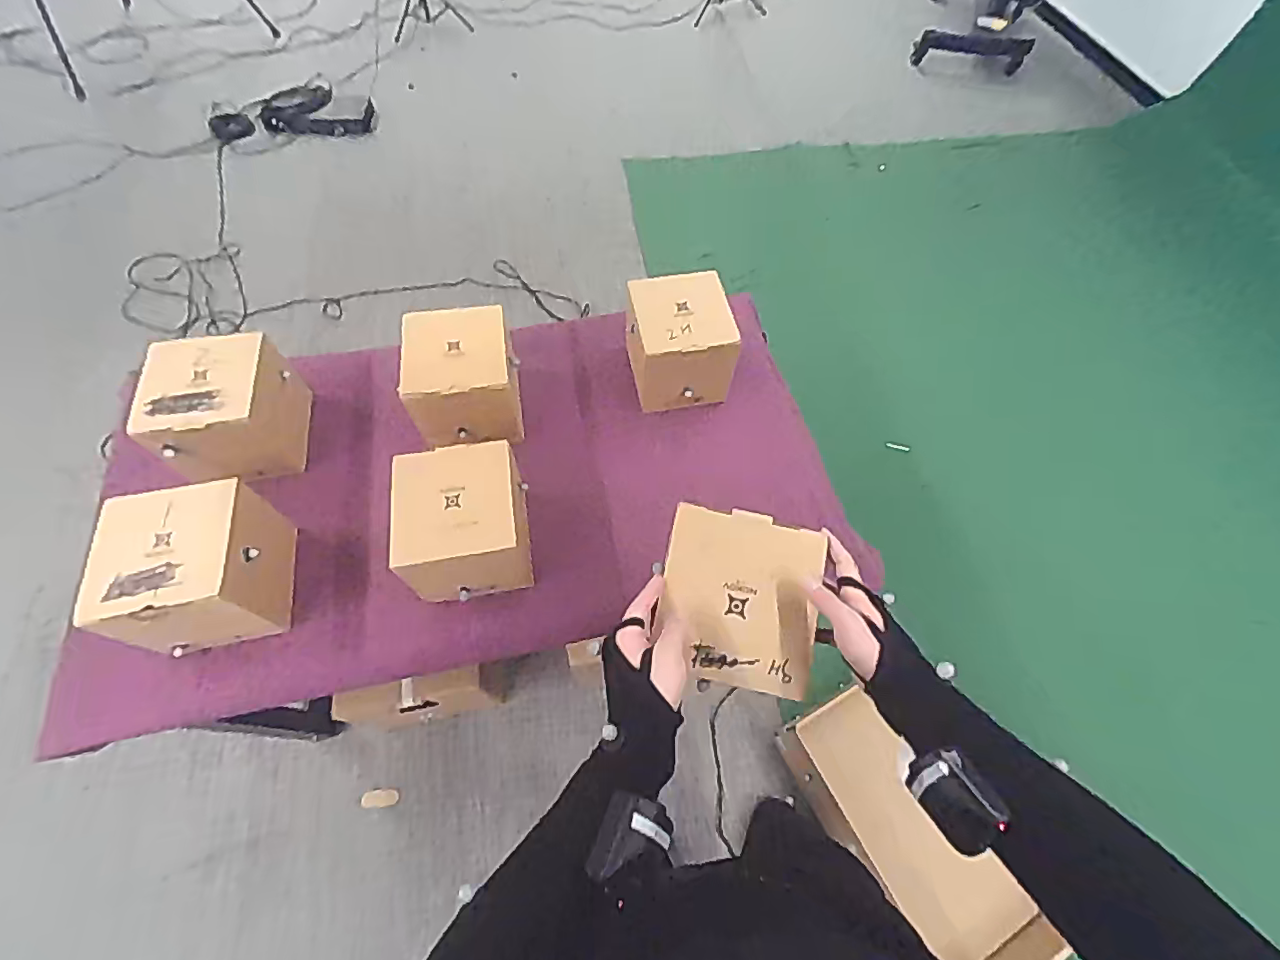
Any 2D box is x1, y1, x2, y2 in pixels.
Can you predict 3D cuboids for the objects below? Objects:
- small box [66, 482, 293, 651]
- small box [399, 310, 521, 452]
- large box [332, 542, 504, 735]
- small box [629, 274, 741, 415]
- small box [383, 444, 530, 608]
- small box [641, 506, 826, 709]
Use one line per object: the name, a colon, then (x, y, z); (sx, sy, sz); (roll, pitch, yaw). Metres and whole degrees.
small box: (-0.617, 0.129, 0.755); (0.168, 0.176, 0.179); (-10, 60, -8)
small box: (-0.303, -0.167, 0.936); (0.168, 0.176, 0.179); (-7, 63, -7)
large box: (-0.543, 0.389, 1.373); (0.320, 0.320, 0.408); (-9, 61, -8)
small box: (0.071, -0.244, 0.990); (0.168, 0.176, 0.179); (-9, 63, -5)
small box: (-0.262, 0.072, 0.804); (0.168, 0.176, 0.179); (-8, 61, -6)
small box: (0.099, 0.145, 0.631); (0.168, 0.176, 0.179); (12, 77, 5)
